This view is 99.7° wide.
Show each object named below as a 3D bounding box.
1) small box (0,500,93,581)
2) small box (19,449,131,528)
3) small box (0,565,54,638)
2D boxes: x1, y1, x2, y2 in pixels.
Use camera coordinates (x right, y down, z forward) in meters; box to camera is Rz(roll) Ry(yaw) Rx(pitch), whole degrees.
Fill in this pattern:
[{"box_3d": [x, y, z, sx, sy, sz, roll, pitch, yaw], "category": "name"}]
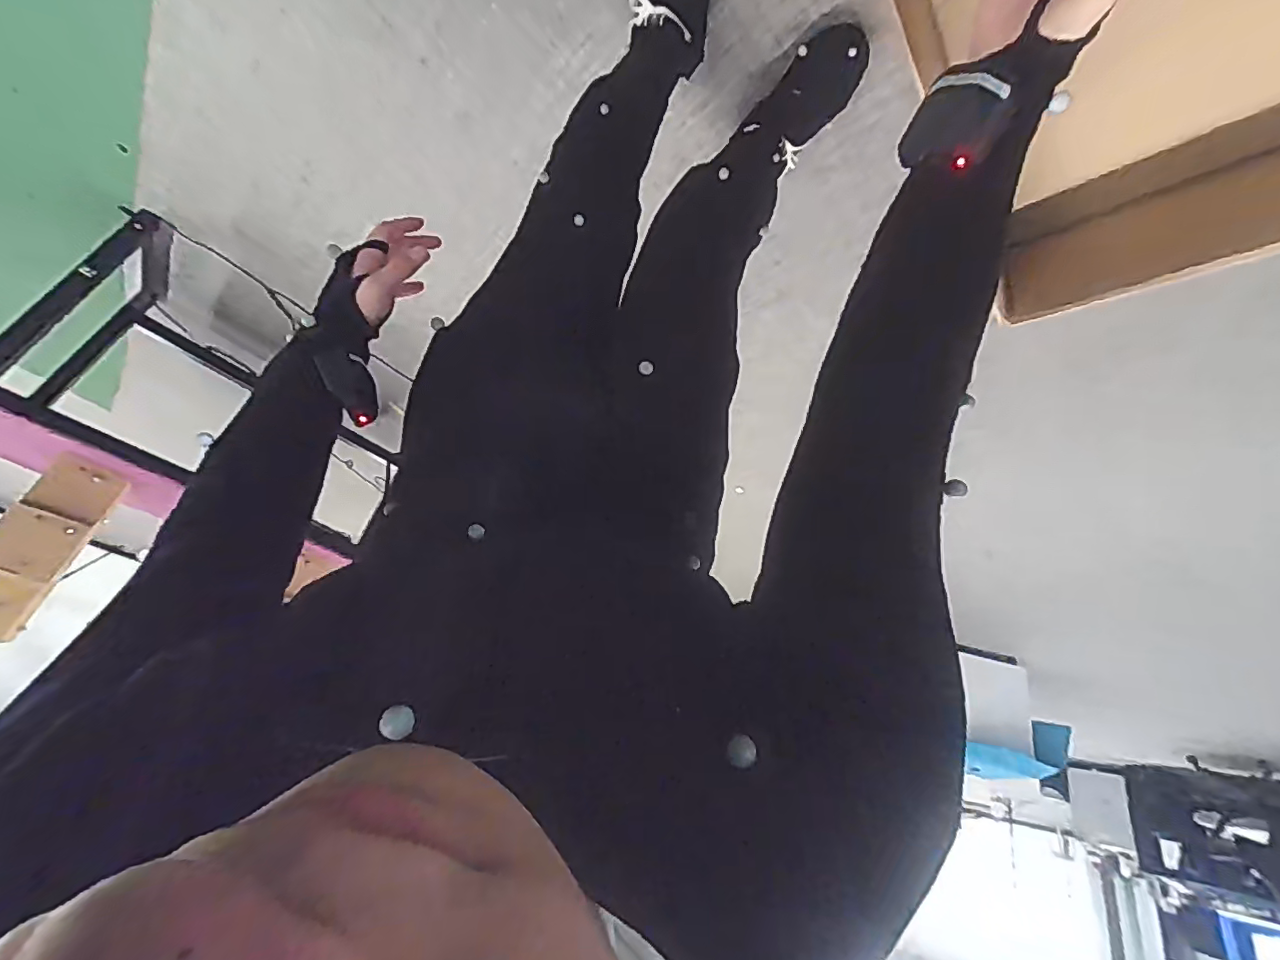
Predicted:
[{"box_3d": [-1.669, 0.167, 1.494, 0.168, 0.176, 0.179, 34, 149, -33], "category": "small box"}, {"box_3d": [-1.643, 0.030, 1.582, 0.179, 0.176, 0.168, -14, 141, 43], "category": "small box"}, {"box_3d": [-1.716, 0.307, 1.427, 0.168, 0.176, 0.179, 33, 149, -31], "category": "small box"}]
